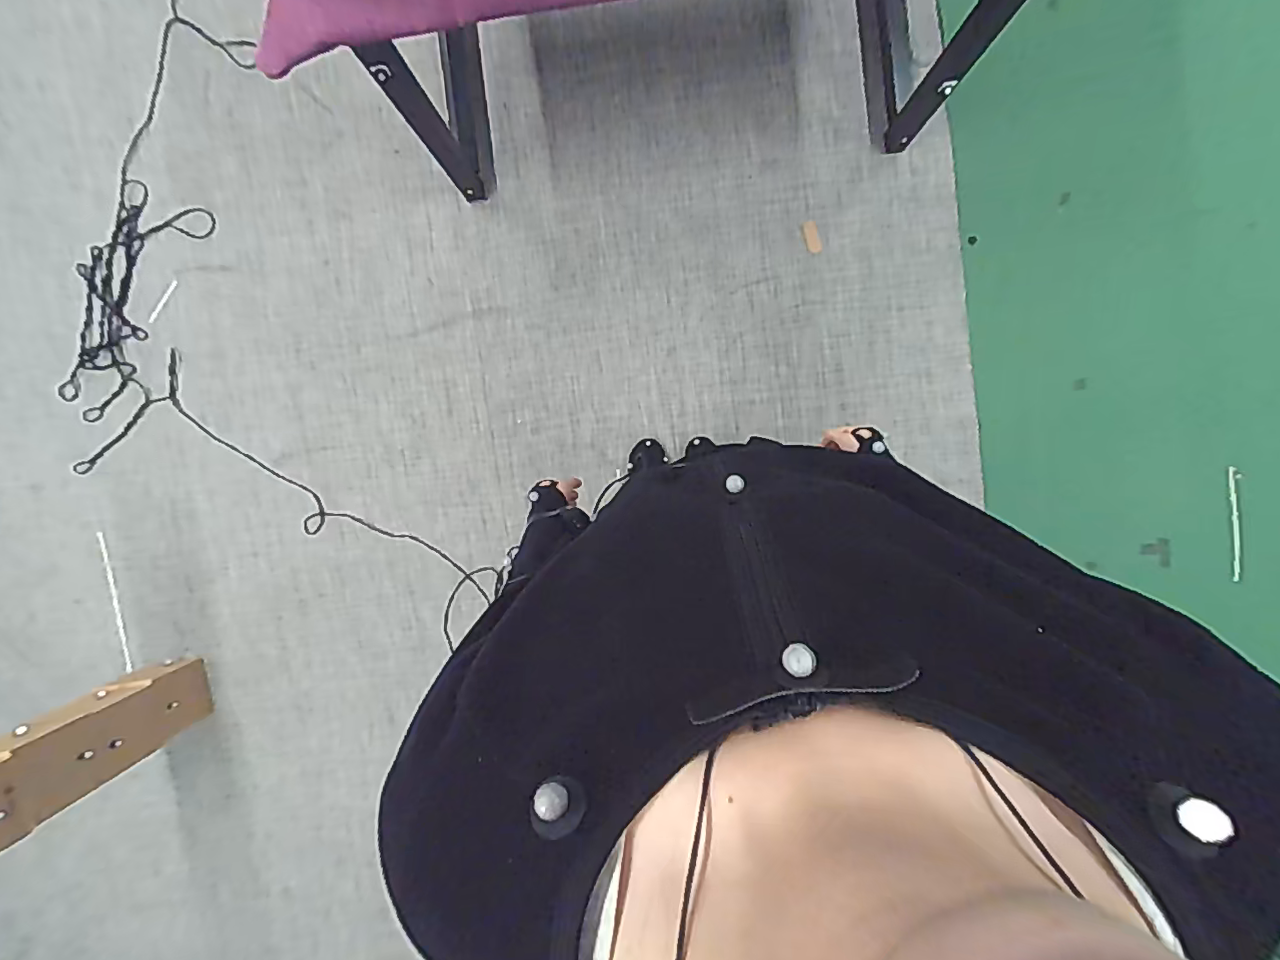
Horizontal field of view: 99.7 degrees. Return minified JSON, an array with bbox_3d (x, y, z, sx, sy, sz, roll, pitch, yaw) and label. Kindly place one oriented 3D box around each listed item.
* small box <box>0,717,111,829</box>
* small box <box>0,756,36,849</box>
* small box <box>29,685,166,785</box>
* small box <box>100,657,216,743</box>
[{"bbox_3d":[-1.339,0.645,1.194,0.168,0.176,0.179,-10,93,2],"label":"small box"},{"bbox_3d":[-1.340,0.661,1.031,0.179,0.176,0.168,-11,94,1],"label":"small box"},{"bbox_3d":[-1.347,0.642,1.357,0.168,0.176,0.179,-8,93,2],"label":"small box"},{"bbox_3d":[-1.342,0.622,1.520,0.168,0.176,0.179,-9,93,3],"label":"small box"}]
